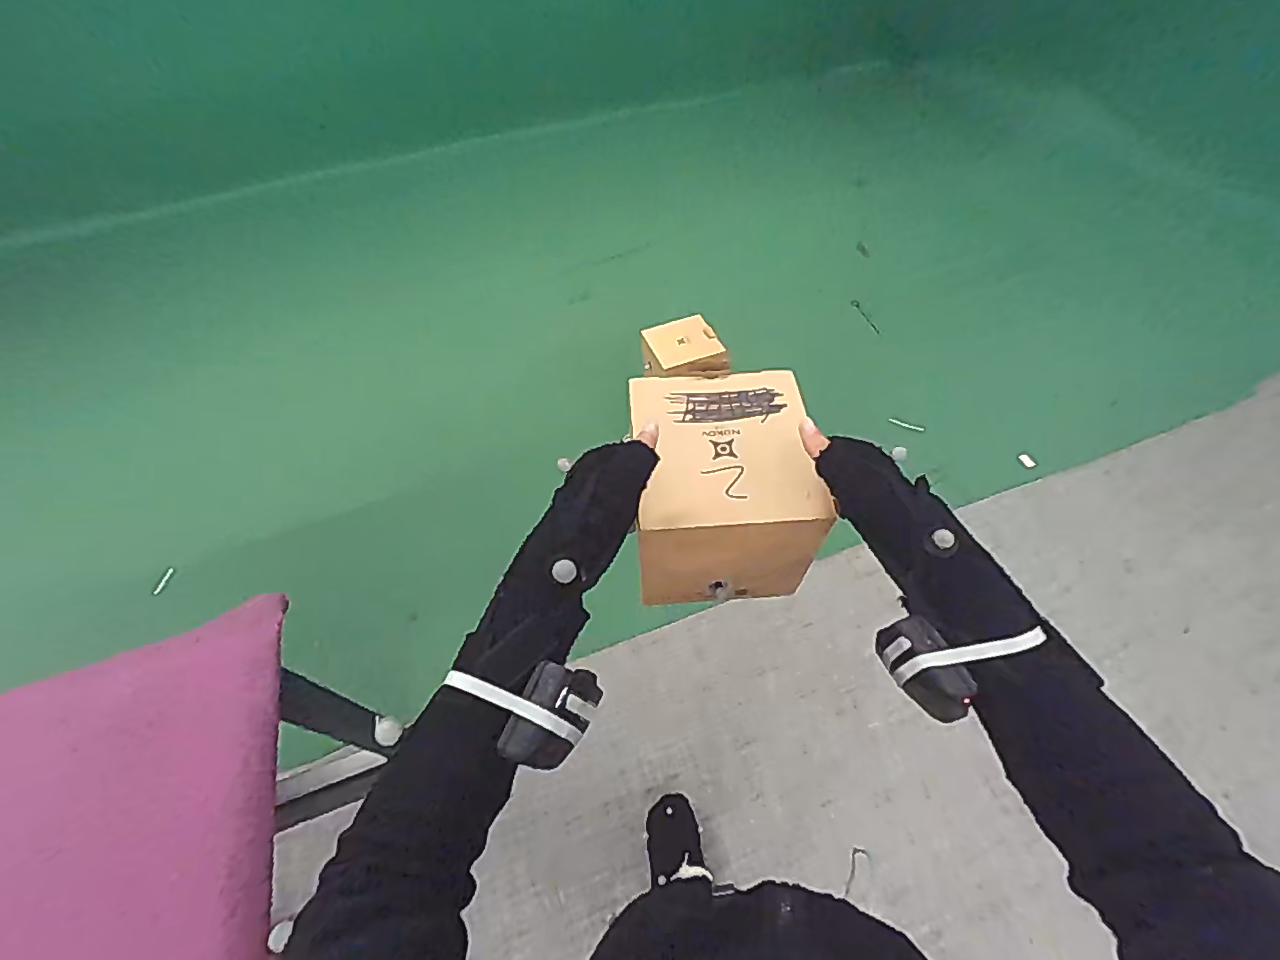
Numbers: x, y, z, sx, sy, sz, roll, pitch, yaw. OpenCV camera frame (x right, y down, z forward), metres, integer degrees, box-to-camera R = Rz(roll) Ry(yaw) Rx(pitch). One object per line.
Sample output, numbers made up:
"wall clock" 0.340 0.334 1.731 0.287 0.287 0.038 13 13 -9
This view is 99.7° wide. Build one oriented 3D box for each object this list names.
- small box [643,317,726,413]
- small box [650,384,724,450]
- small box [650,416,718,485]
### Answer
"small box" 0.120 -0.309 1.475 0.179 0.176 0.168 -19 55 -11
"small box" 0.132 -0.216 1.604 0.179 0.176 0.168 -16 53 -9
"small box" 0.137 -0.114 1.737 0.168 0.176 0.179 -19 55 -9
